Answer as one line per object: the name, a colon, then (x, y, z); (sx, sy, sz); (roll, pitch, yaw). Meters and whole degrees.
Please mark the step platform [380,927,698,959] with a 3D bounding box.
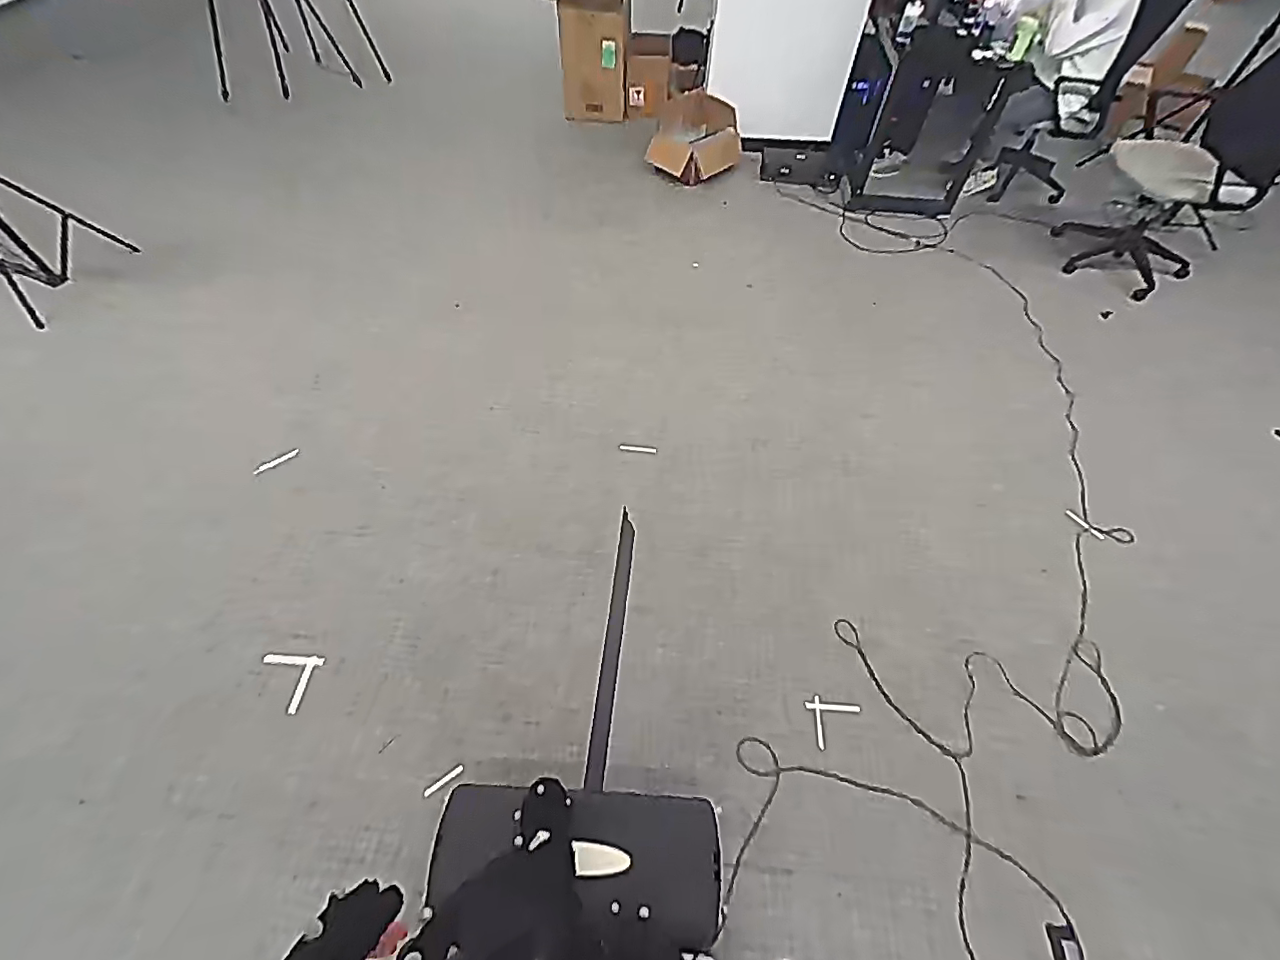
step platform: (-0.204, 1.100, 1.072); (0.684, 0.204, 0.286); (3, 54, 2)
